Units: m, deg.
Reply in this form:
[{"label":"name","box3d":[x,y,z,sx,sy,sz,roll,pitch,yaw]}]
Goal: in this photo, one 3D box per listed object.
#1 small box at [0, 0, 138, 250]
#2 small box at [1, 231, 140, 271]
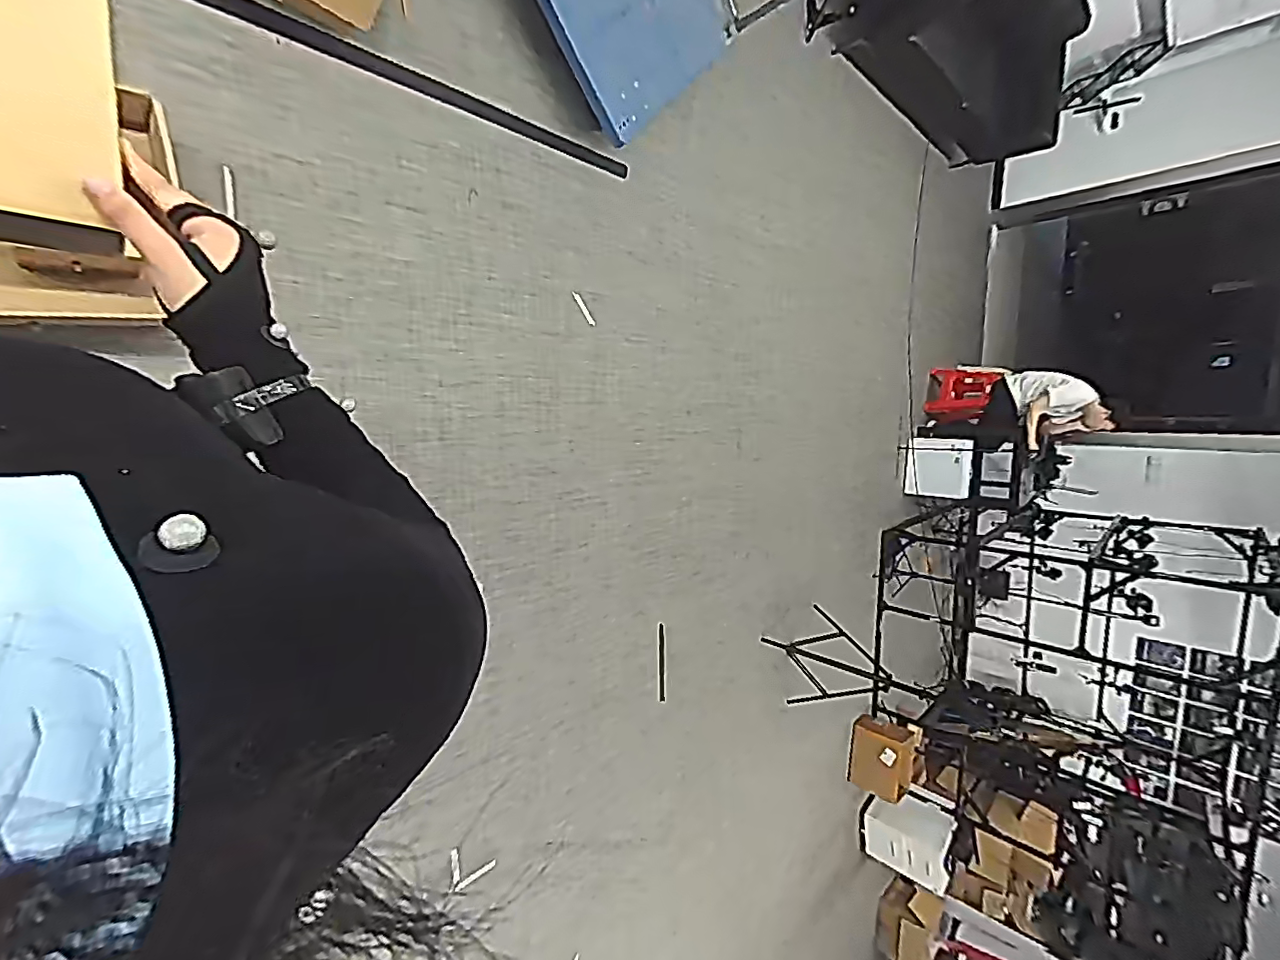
[{"label":"small box","box3d":[-0.461,-0.261,0.359,0.179,0.176,0.168,-5,104,-43]},{"label":"small box","box3d":[-0.998,-0.475,0.942,0.168,0.176,0.179,-12,102,-44]}]
